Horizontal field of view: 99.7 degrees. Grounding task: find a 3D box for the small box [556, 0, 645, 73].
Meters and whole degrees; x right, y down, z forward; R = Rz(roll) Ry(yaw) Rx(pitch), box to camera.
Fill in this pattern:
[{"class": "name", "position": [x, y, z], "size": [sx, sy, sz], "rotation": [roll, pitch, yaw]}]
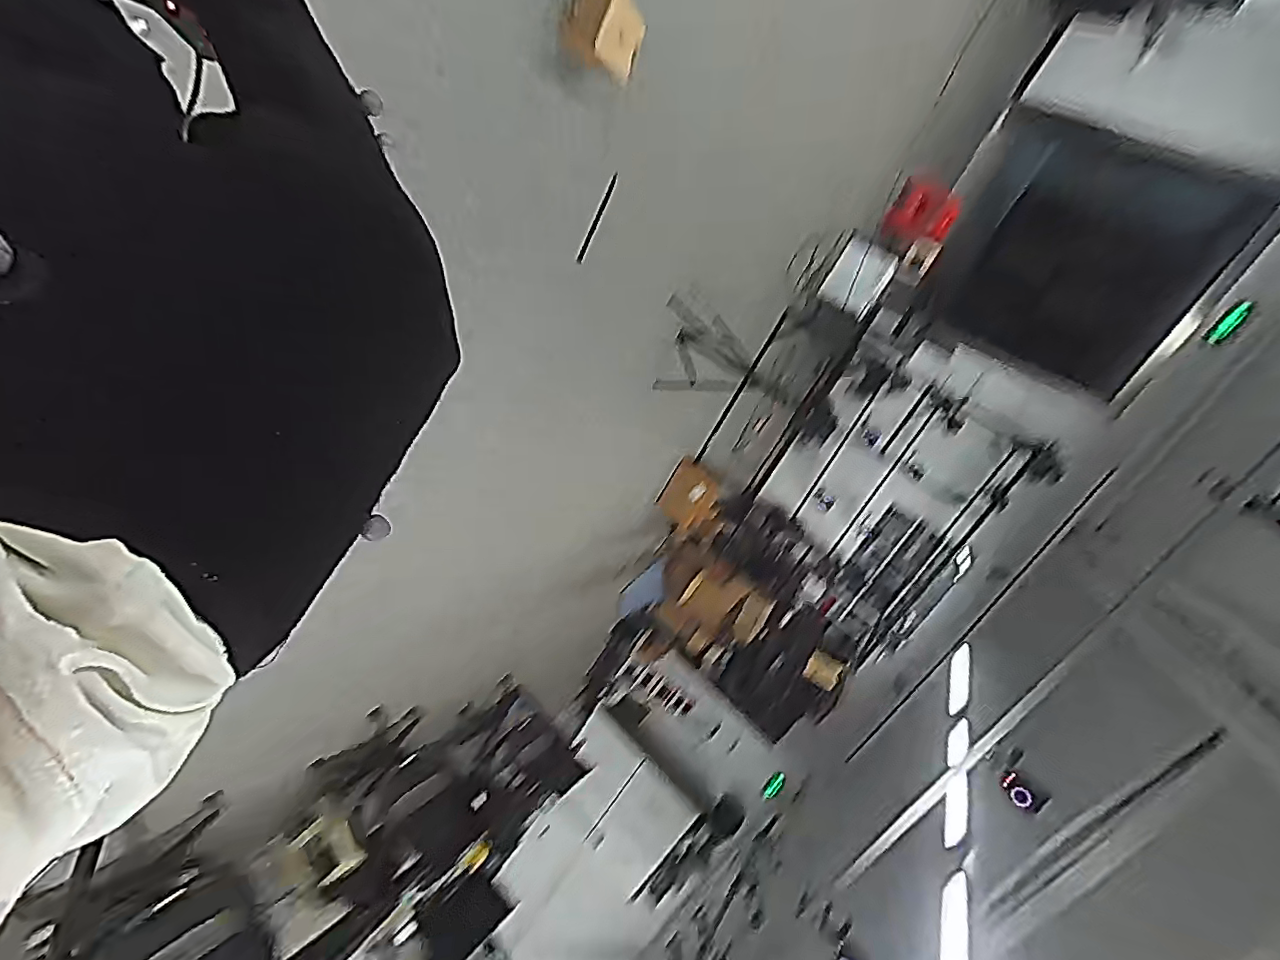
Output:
[{"class": "small box", "position": [-0.121, -1.401, 1.653], "size": [0.179, 0.176, 0.168], "rotation": [-6, 128, -59]}]
